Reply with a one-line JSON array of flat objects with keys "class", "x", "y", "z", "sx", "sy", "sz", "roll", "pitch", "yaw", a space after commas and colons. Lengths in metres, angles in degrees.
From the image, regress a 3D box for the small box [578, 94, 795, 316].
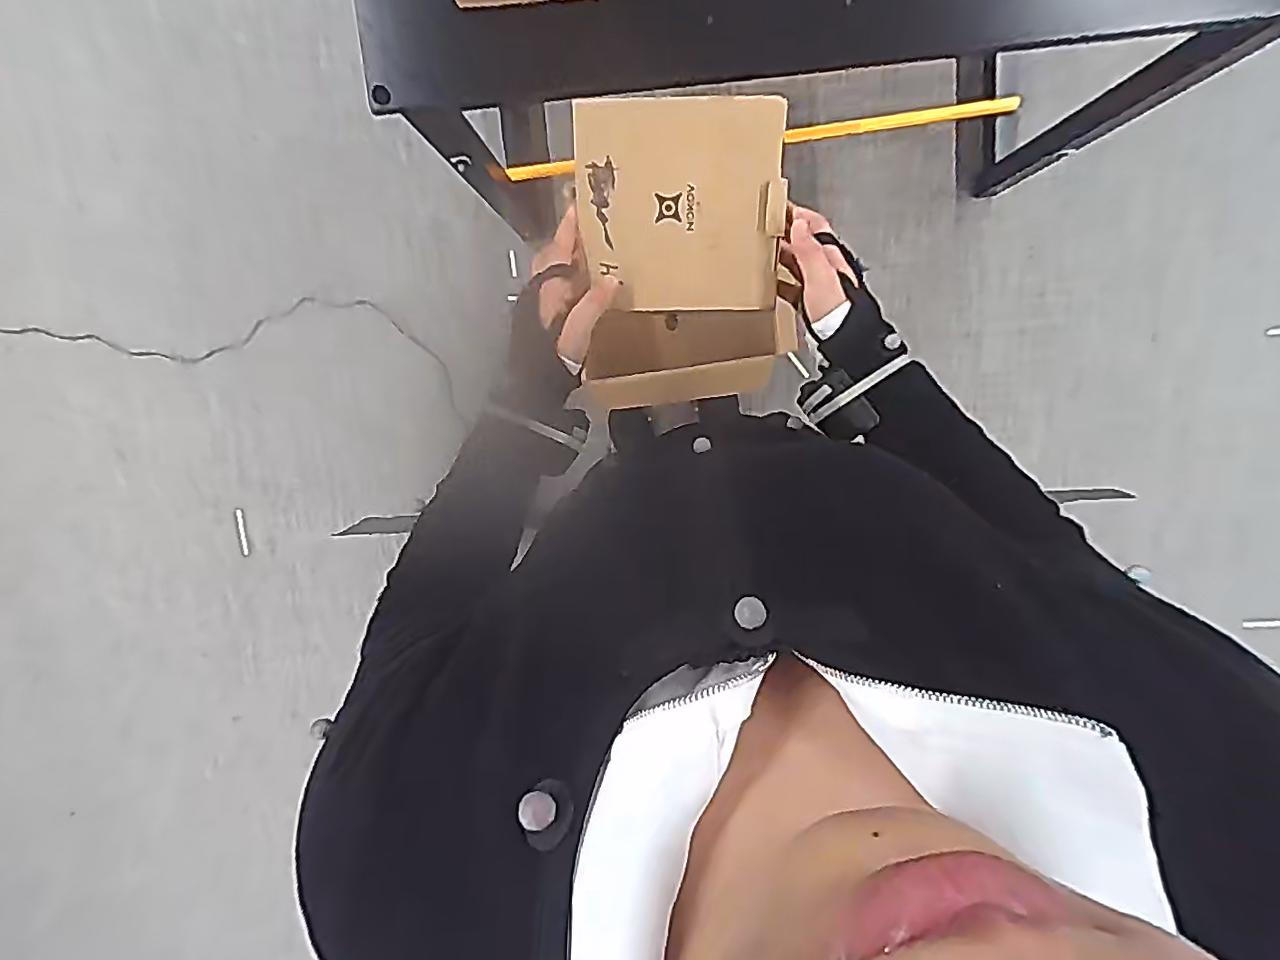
[{"class": "small box", "x": 0.035, "y": -0.248, "z": 0.526, "sx": 0.179, "sy": 0.176, "sz": 0.168, "roll": -1, "pitch": 106, "yaw": -1}]
